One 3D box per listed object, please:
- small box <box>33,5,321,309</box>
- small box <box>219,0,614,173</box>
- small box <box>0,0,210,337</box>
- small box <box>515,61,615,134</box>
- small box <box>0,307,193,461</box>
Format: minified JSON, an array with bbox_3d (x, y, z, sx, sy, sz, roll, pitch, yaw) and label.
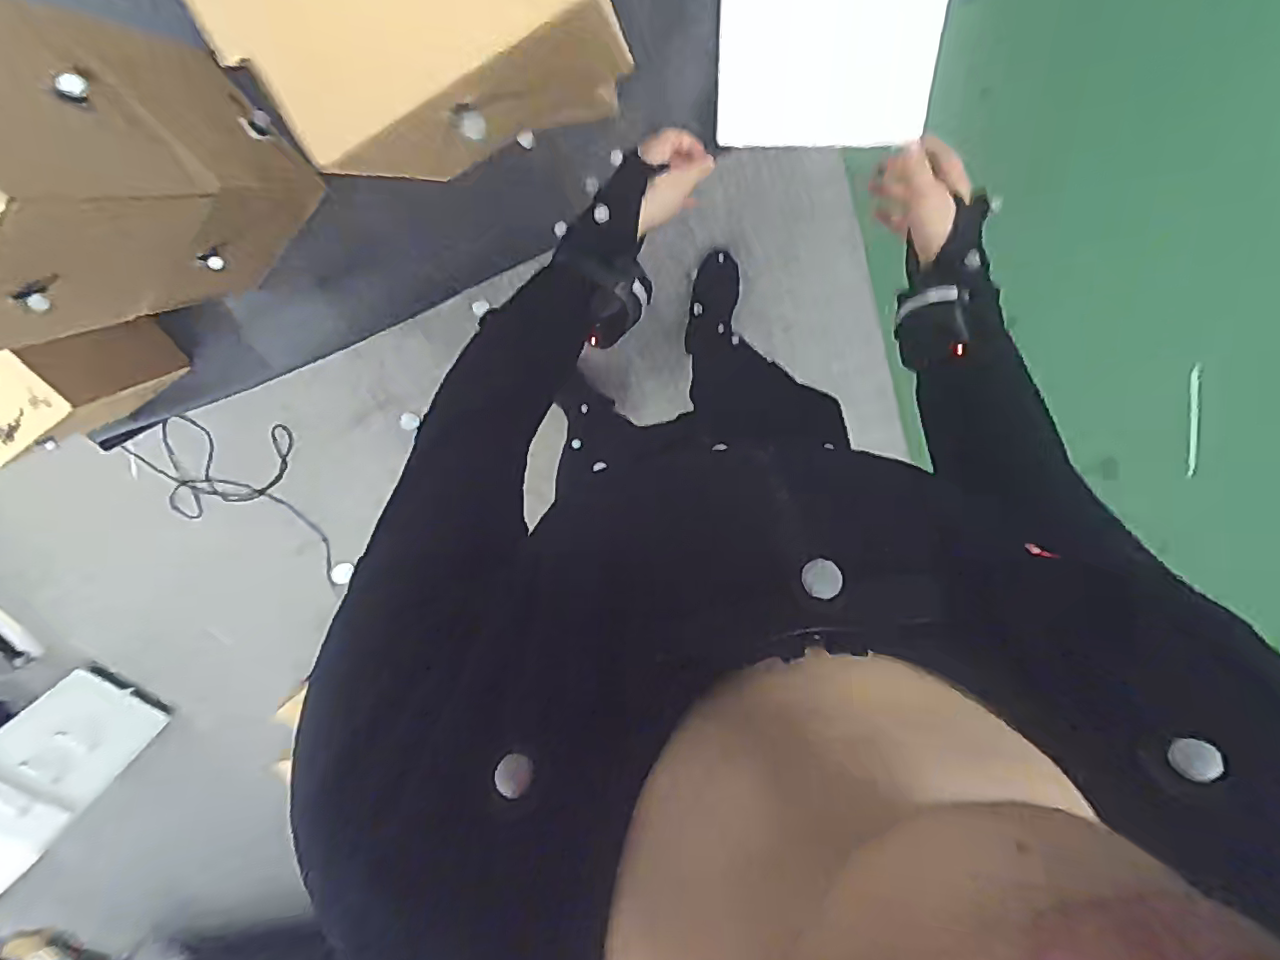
[{"bbox_3d":[-0.469,-0.306,0.544,0.179,0.176,0.168,-36,111,22],"label":"small box"},{"bbox_3d":[-0.126,-0.307,0.320,0.179,0.176,0.168,-20,114,17],"label":"small box"},{"bbox_3d":[-0.483,-0.224,0.402,0.179,0.176,0.168,-33,111,21],"label":"small box"},{"bbox_3d":[-0.122,-0.404,0.452,0.168,0.176,0.179,-5,118,9],"label":"small box"},{"bbox_3d":[-0.713,-0.157,0.649,0.168,0.176,0.179,-24,114,17],"label":"small box"}]
